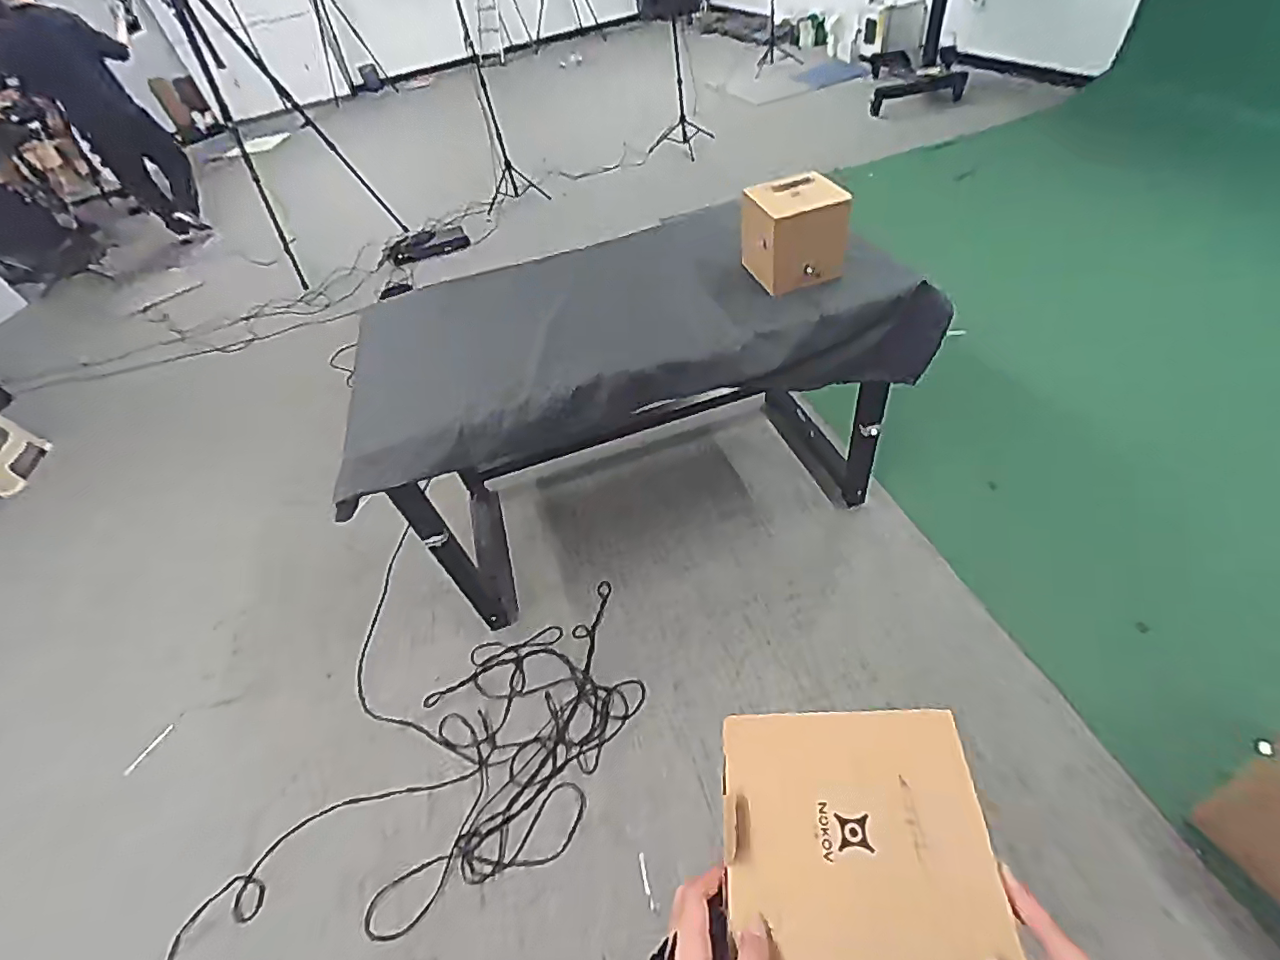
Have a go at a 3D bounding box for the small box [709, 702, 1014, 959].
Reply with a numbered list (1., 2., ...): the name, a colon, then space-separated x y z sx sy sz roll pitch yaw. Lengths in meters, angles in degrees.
1. small box: 0.157 0.290 0.424 0.179 0.176 0.168 -8 45 15
